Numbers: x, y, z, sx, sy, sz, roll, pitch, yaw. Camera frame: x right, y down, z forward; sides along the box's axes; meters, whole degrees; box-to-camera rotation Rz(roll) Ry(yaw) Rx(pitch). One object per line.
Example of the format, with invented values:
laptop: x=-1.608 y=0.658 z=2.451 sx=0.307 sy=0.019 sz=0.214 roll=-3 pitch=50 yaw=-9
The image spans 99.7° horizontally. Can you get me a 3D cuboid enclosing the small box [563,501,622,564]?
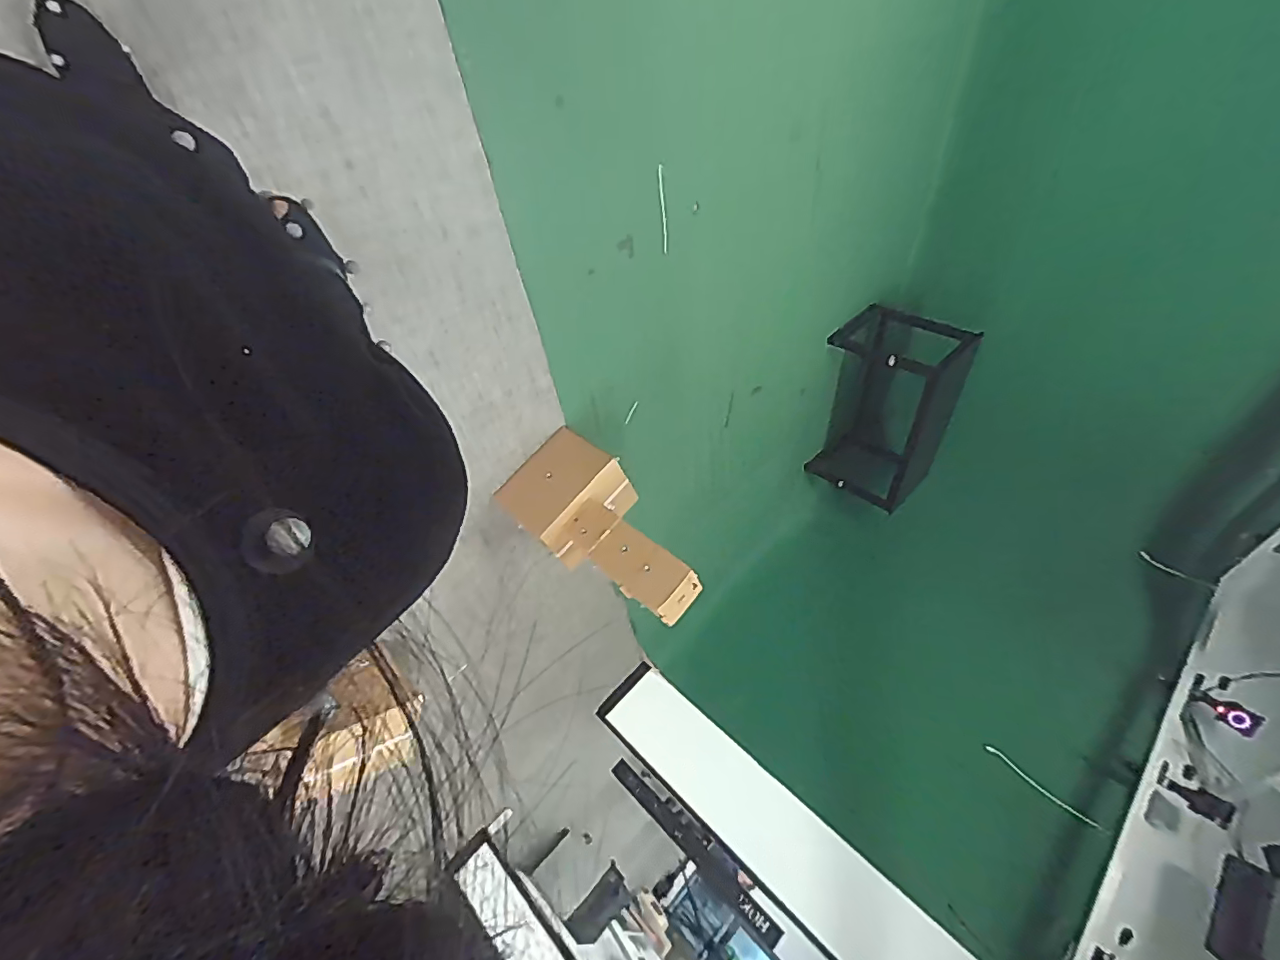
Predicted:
small box: x=-0.154 y=0.200 z=1.989 sx=0.168 sy=0.176 sz=0.179 roll=-47 pitch=145 yaw=-14

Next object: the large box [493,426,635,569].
large box: x=-0.294 y=0.067 z=2.144 sx=0.408 sy=0.320 sz=0.320 roll=-49 pitch=147 yaw=-14

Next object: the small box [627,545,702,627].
small box: x=0.077 y=0.352 z=1.812 sx=0.179 sy=0.176 sz=0.168 roll=-47 pitch=145 yaw=-13

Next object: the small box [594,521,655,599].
small box: x=-0.040 y=0.278 z=1.900 sx=0.179 sy=0.176 sz=0.168 roll=-48 pitch=145 yaw=-13
